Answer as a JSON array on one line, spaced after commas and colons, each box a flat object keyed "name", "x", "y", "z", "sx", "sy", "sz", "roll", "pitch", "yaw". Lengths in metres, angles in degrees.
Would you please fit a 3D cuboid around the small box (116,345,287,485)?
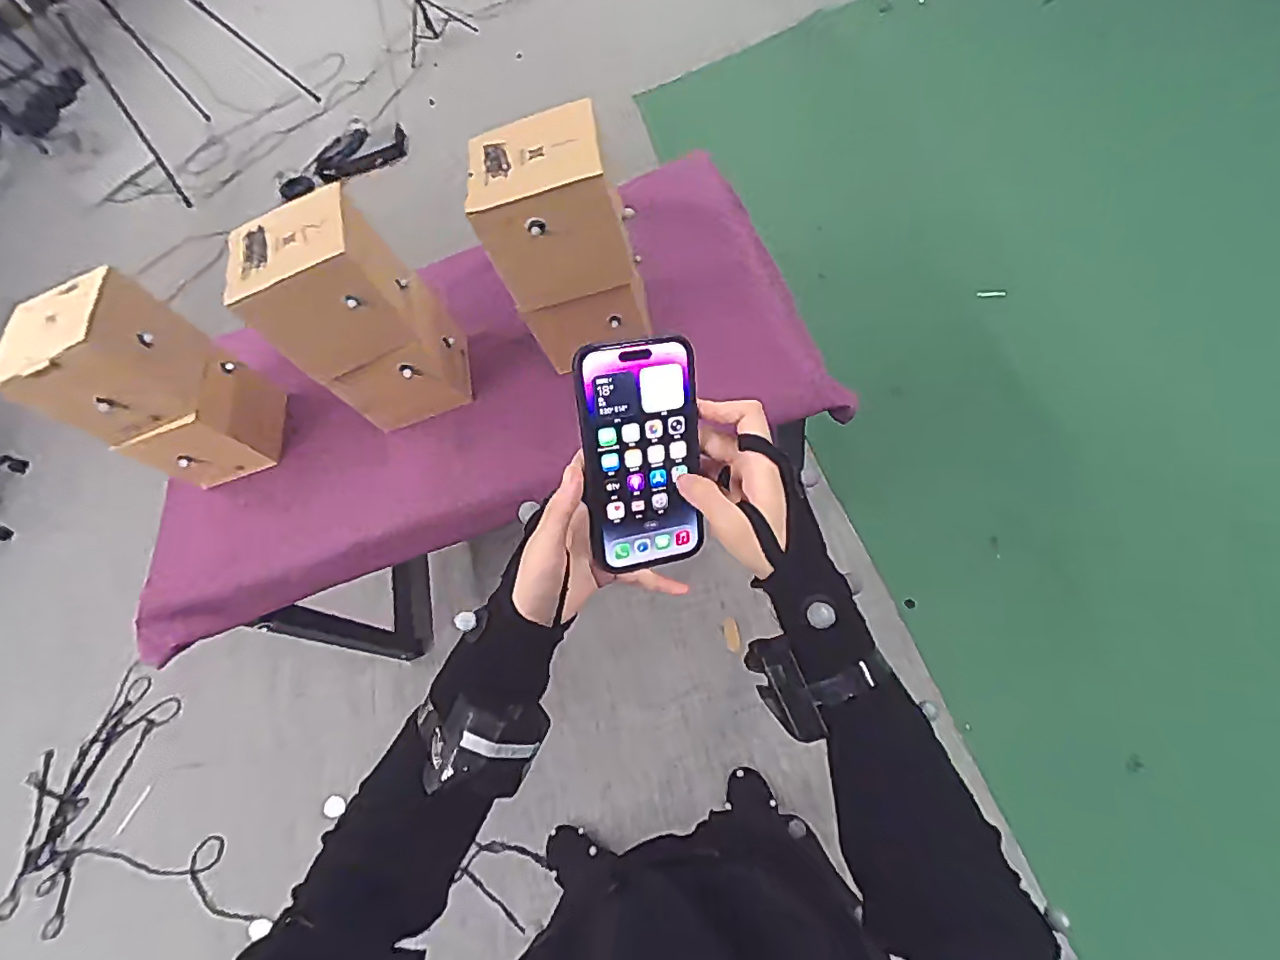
[{"name": "small box", "x": -0.786, "y": -0.108, "z": 0.991, "sx": 0.168, "sy": 0.176, "sz": 0.179, "roll": -18, "pitch": 61, "yaw": 7}]

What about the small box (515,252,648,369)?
[{"name": "small box", "x": -0.090, "y": -0.311, "z": 0.892, "sx": 0.179, "sy": 0.176, "sz": 0.168, "roll": -13, "pitch": 61, "yaw": 10}]

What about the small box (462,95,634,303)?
[{"name": "small box", "x": -0.120, "y": -0.372, "z": 0.742, "sx": 0.179, "sy": 0.176, "sz": 0.168, "roll": -13, "pitch": 61, "yaw": 9}]

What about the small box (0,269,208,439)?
[{"name": "small box", "x": -0.830, "y": -0.186, "z": 0.853, "sx": 0.168, "sy": 0.176, "sz": 0.179, "roll": -22, "pitch": 61, "yaw": 4}]

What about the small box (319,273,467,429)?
[{"name": "small box", "x": -0.415, "y": -0.215, "z": 0.936, "sx": 0.179, "sy": 0.176, "sz": 0.168, "roll": -19, "pitch": 61, "yaw": 7}]
